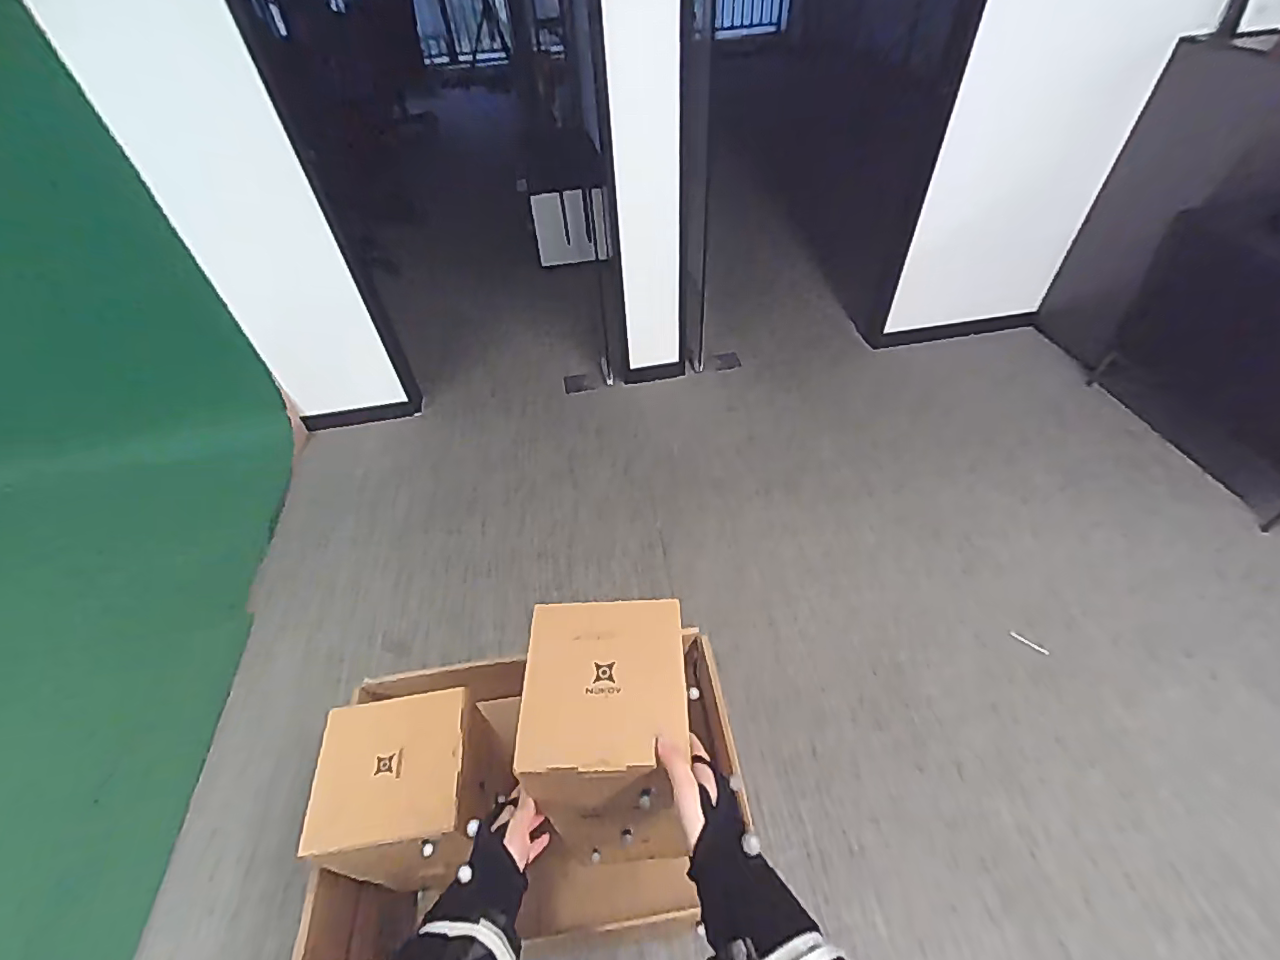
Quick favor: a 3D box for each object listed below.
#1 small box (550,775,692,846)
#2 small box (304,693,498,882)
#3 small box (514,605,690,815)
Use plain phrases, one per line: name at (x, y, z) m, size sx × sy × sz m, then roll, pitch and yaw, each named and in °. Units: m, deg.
small box at (-0.018, 0.376, 0.726) m, size 0.168 × 0.176 × 0.179 m, roll -4°, pitch 47°, yaw 1°
small box at (-0.298, 0.411, 0.719) m, size 0.179 × 0.176 × 0.168 m, roll -8°, pitch 46°, yaw -5°
small box at (-0.031, 0.263, 0.608) m, size 0.168 × 0.176 × 0.179 m, roll -3°, pitch 45°, yaw 2°
